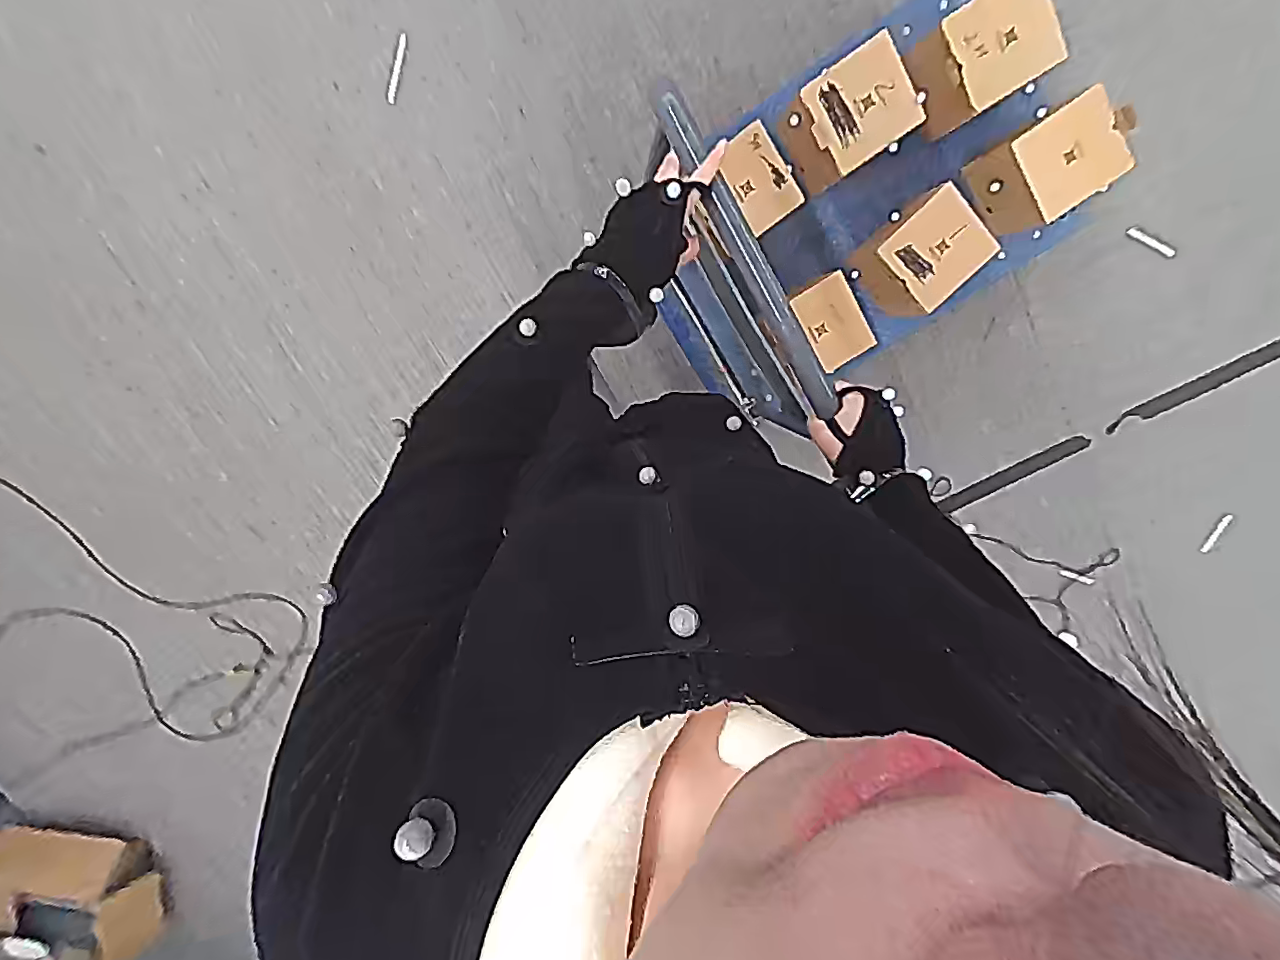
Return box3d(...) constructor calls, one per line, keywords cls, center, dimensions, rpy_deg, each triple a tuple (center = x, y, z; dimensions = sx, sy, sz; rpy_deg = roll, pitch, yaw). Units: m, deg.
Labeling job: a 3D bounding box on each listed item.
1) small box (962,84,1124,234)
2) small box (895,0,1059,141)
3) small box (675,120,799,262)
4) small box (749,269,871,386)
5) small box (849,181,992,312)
box3d(cls="small box", center=(0.778, -0.617, 1.069), dimensions=(0.179, 0.176, 0.168), rpy_deg=(-34, 103, 8))
box3d(cls="small box", center=(0.623, -0.786, 1.018), dimensions=(0.179, 0.176, 0.168), rpy_deg=(-30, 103, 8))
box3d(cls="small box", center=(0.182, -0.558, 1.075), dimensions=(0.179, 0.176, 0.168), rpy_deg=(-35, 104, 8))
box3d(cls="small box", center=(0.345, -0.318, 1.144), dimensions=(0.179, 0.176, 0.168), rpy_deg=(-31, 104, 7))
box3d(cls="small box", center=(0.556, -0.462, 1.107), dimensions=(0.179, 0.176, 0.168), rpy_deg=(-43, 102, 9))
